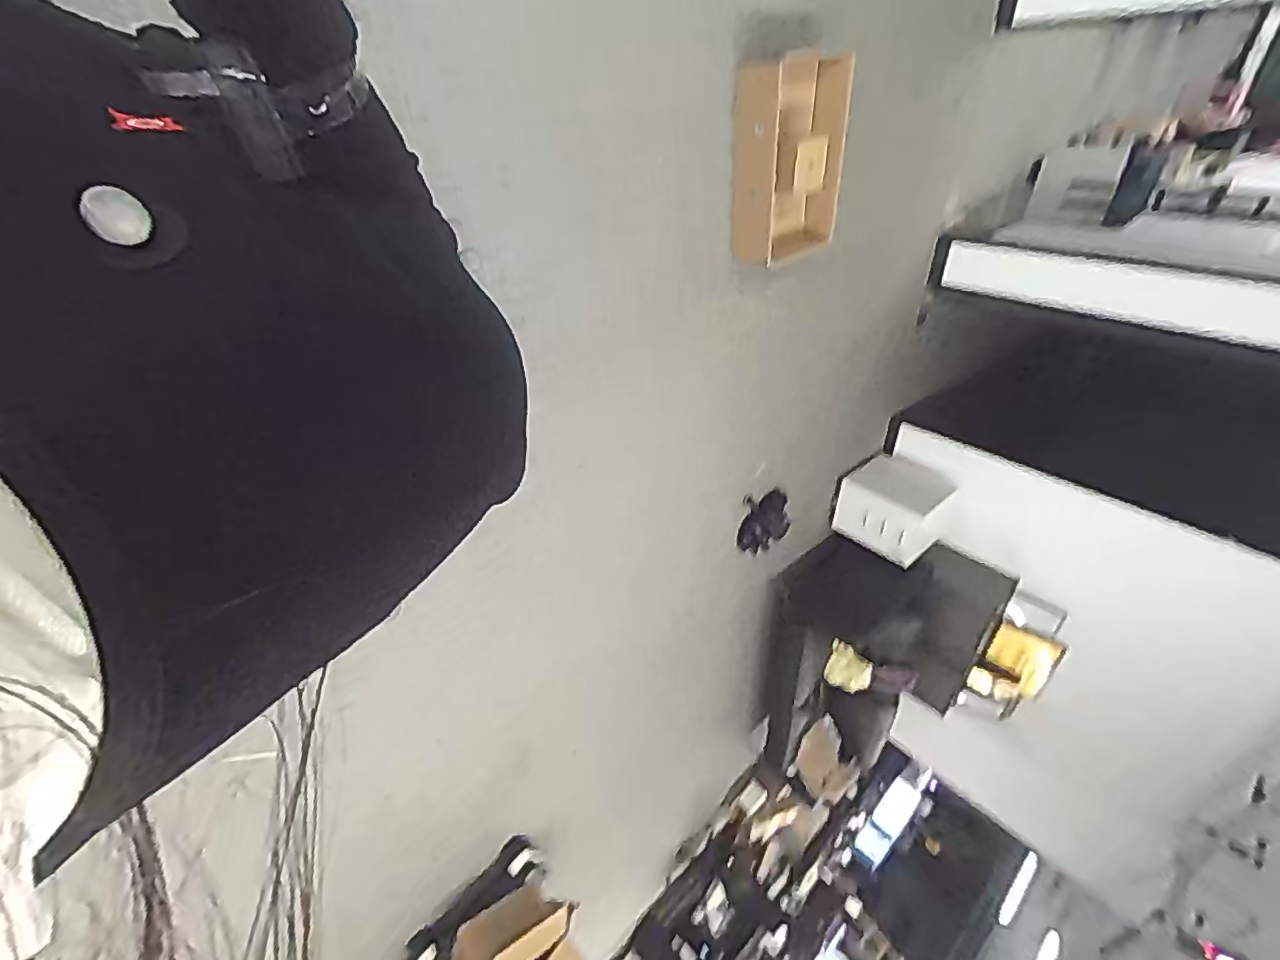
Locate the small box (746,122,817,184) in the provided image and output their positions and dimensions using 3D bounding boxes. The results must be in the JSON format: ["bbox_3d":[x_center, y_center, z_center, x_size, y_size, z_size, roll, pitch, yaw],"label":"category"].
[{"bbox_3d":[0.488,-1.143,1.888,0.179,0.176,0.168,-33,136,-31],"label":"small box"}]
